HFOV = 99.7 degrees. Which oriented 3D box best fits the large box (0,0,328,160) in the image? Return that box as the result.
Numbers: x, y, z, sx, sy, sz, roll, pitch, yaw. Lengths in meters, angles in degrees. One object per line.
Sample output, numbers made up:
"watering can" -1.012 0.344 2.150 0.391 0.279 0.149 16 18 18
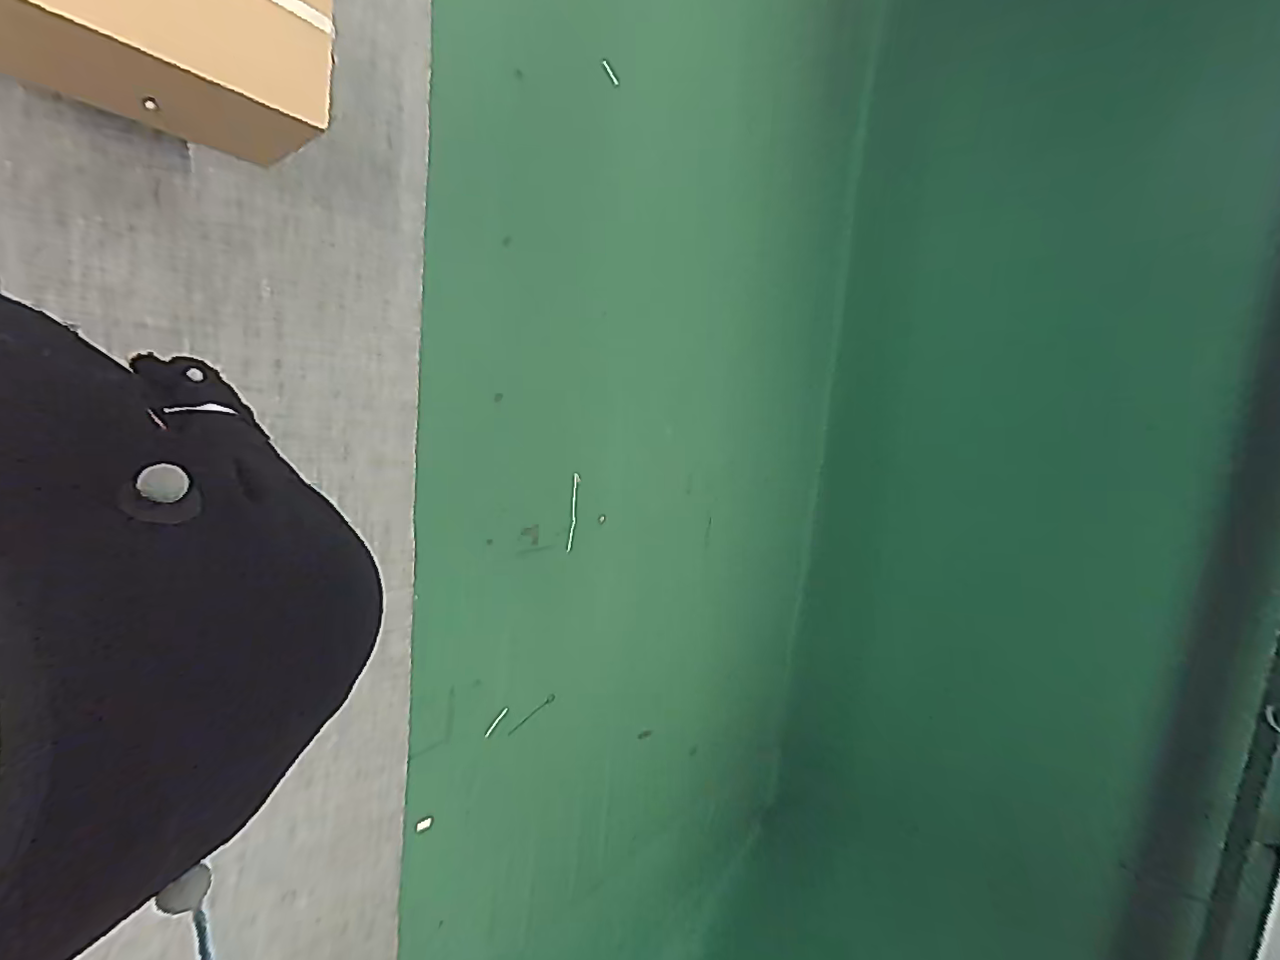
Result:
"large box" -0.758 -0.763 0.840 0.408 0.320 0.320 -2 100 -50
